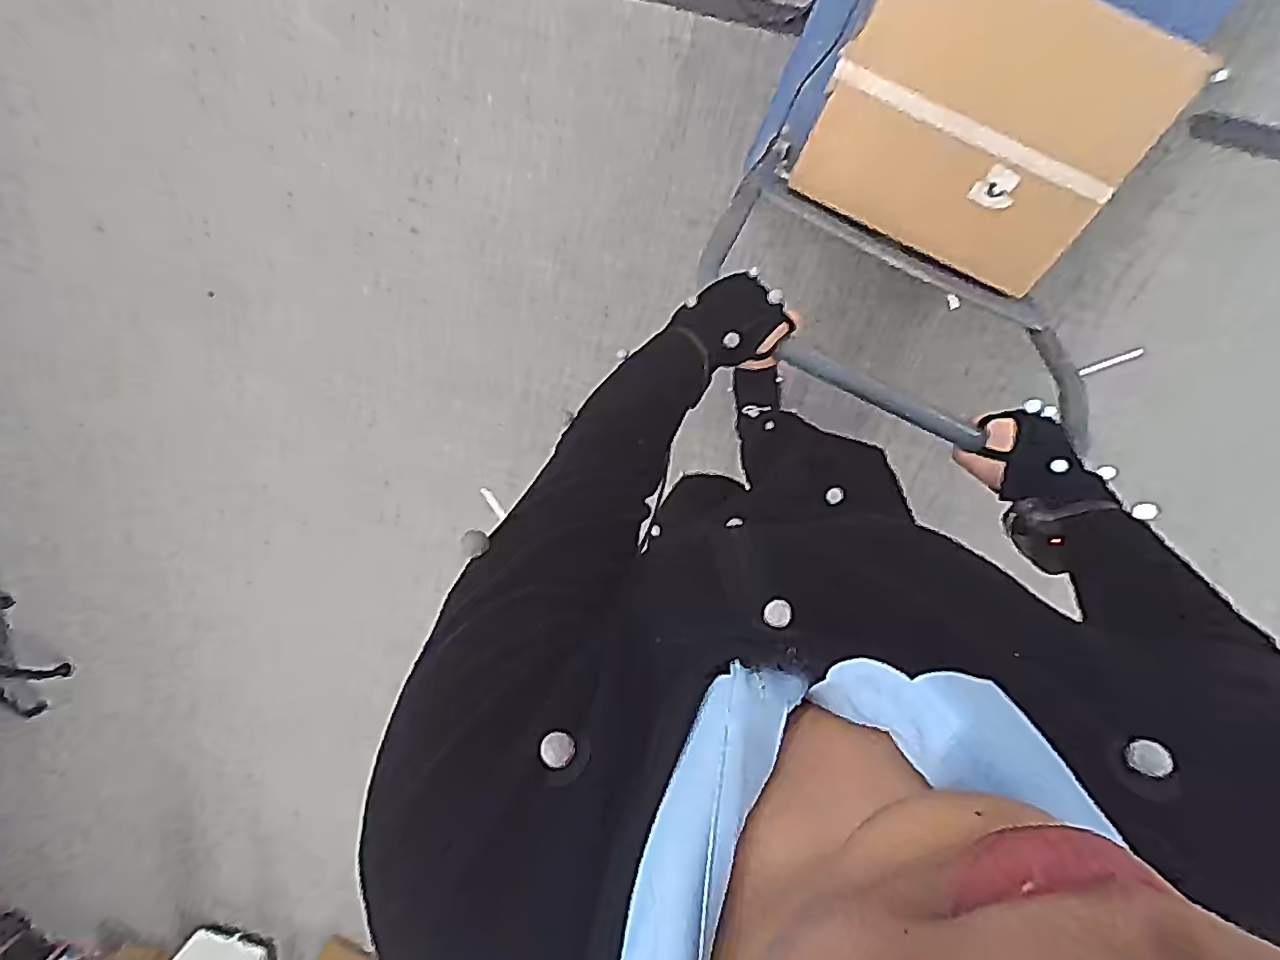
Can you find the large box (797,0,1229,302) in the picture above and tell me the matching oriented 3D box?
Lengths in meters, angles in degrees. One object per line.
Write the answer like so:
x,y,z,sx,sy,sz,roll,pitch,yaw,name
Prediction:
0.501,-0.542,0.843,0.408,0.320,0.320,26,130,-1,large box
